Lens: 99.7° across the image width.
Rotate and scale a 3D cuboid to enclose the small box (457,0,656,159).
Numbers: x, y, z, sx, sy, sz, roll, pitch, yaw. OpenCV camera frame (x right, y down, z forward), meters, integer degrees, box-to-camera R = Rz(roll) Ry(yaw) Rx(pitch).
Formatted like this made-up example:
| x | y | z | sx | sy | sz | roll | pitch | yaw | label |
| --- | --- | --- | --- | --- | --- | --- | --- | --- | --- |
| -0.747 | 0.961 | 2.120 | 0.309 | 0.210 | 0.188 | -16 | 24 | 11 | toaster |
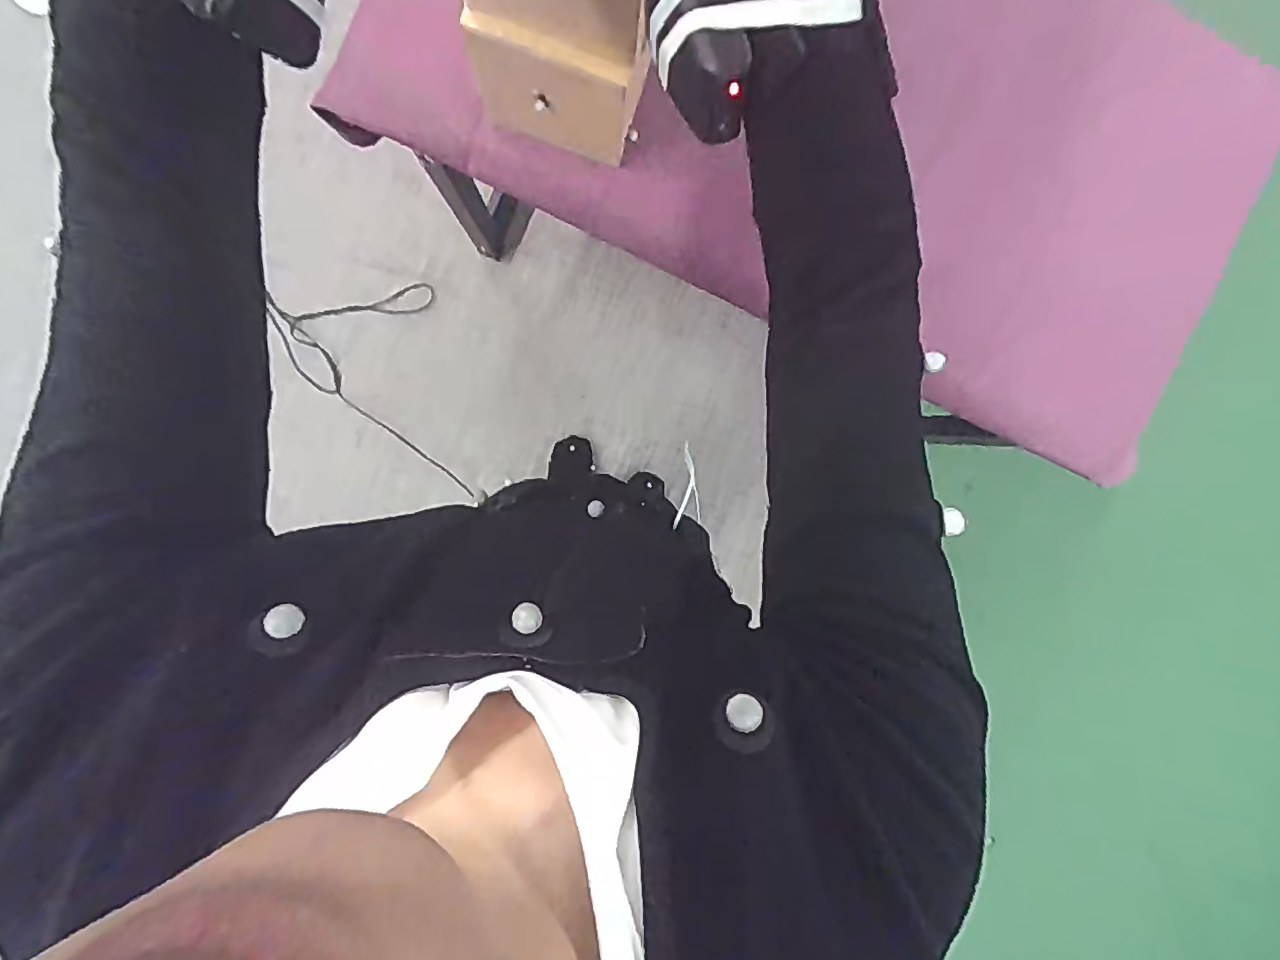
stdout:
| x | y | z | sx | sy | sz | roll | pitch | yaw | label |
| --- | --- | --- | --- | --- | --- | --- | --- | --- | --- |
| -0.084 | -0.509 | 0.623 | 0.179 | 0.176 | 0.168 | 18 | 92 | -7 | small box |
